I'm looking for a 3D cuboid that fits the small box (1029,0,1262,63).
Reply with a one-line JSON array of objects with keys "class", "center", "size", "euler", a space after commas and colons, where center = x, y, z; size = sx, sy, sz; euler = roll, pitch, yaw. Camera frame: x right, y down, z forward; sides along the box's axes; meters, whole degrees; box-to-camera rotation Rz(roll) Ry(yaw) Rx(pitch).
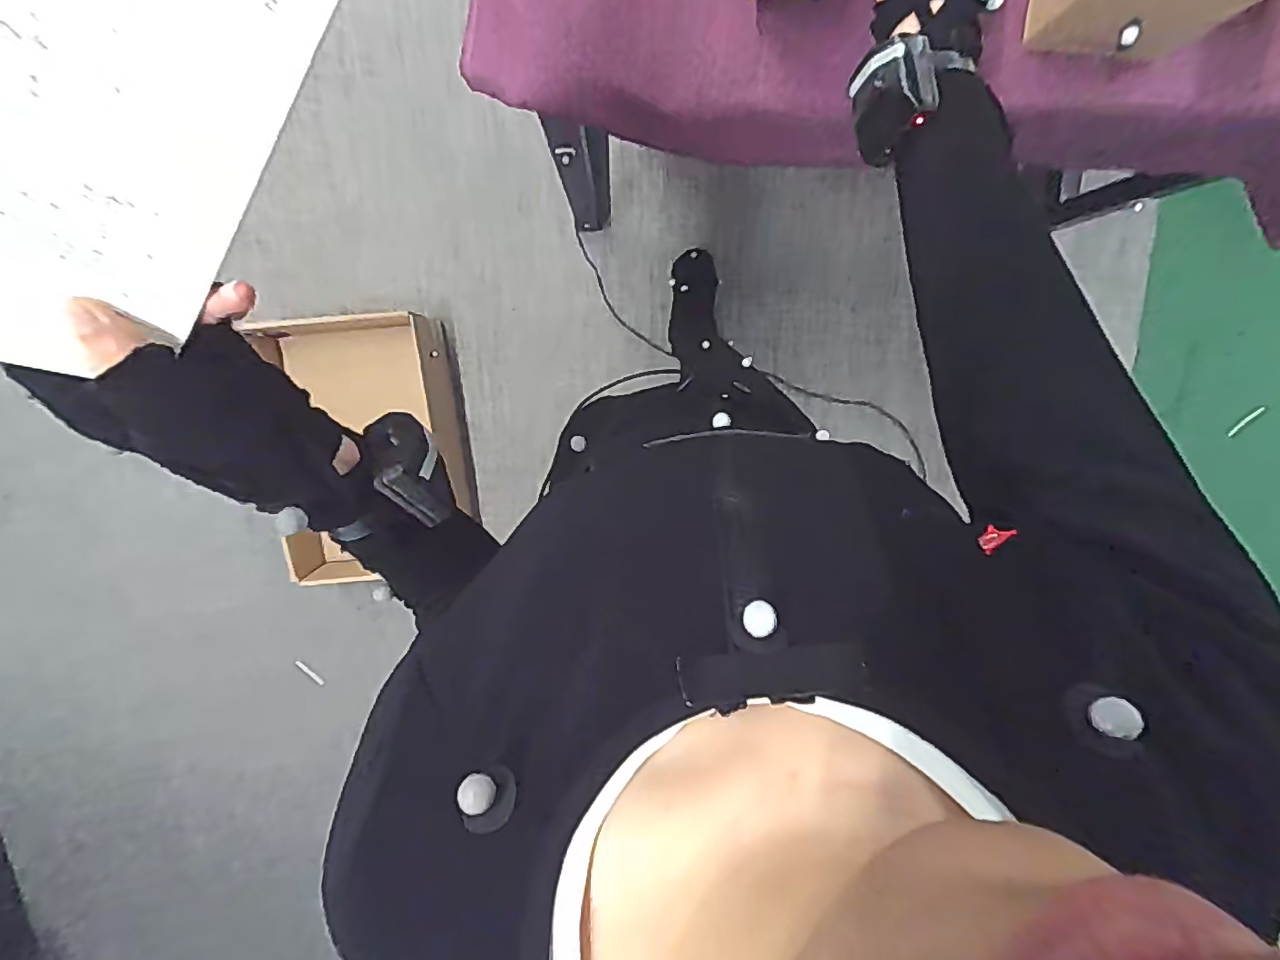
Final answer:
[{"class": "small box", "center": [0.526, -0.557, 0.526], "size": [0.168, 0.176, 0.179], "euler": [4, 102, -2]}]
